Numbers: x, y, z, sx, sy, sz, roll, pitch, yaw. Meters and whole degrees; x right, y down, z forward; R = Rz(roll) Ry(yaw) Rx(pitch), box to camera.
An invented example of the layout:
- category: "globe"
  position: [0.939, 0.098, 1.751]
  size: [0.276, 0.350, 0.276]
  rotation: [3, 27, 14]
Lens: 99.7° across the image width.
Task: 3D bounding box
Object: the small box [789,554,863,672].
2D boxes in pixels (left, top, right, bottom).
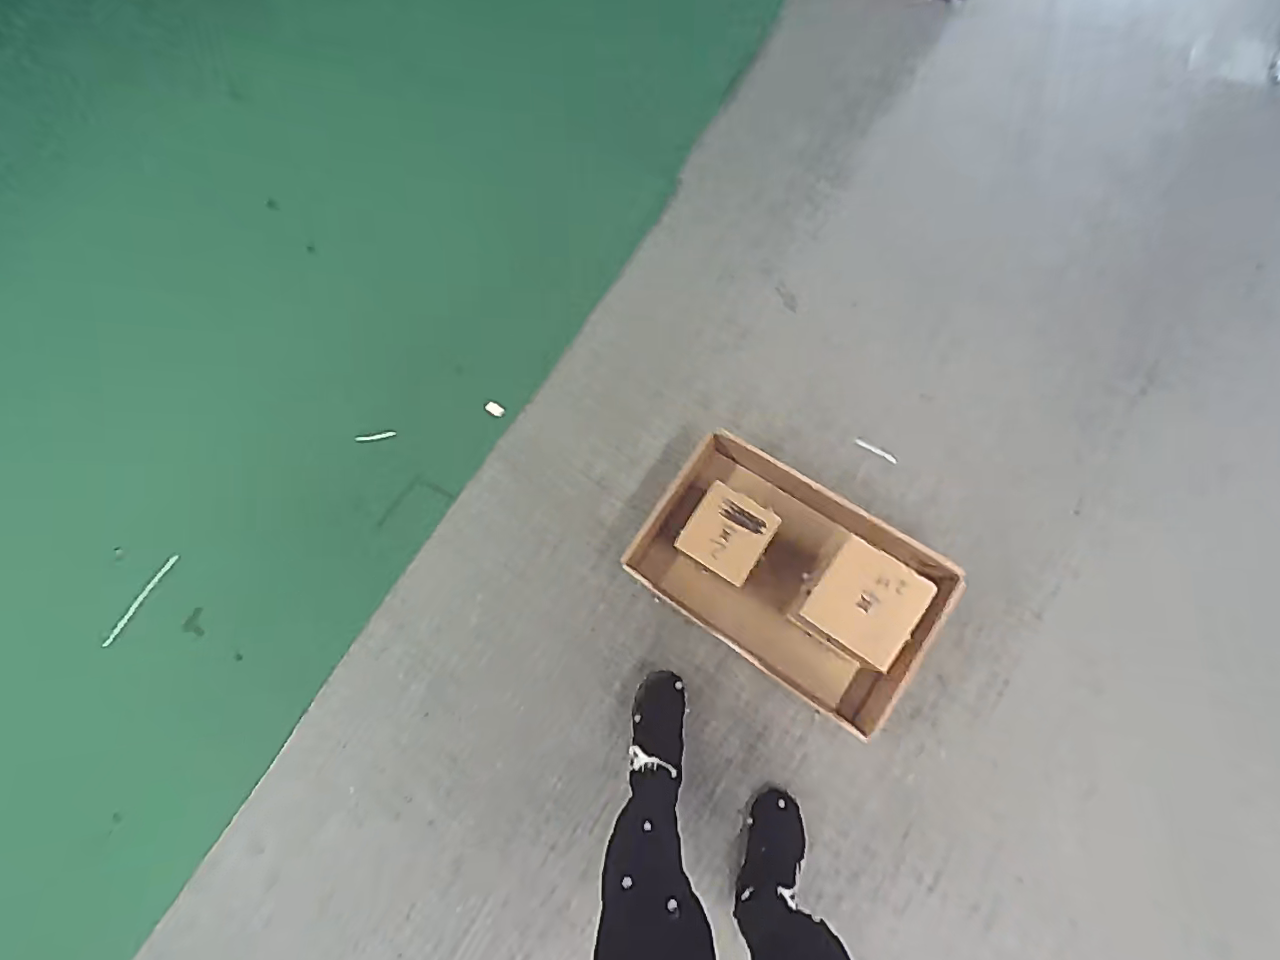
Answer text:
- category: "small box"
  position: [0.435, 0.287, 1.162]
  size: [0.168, 0.176, 0.179]
  rotation: [34, 83, 17]

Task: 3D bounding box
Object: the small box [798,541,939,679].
- category: "small box"
  position: [0.410, 0.241, 1.005]
  size: [0.168, 0.176, 0.179]
  rotation: [35, 83, 17]
